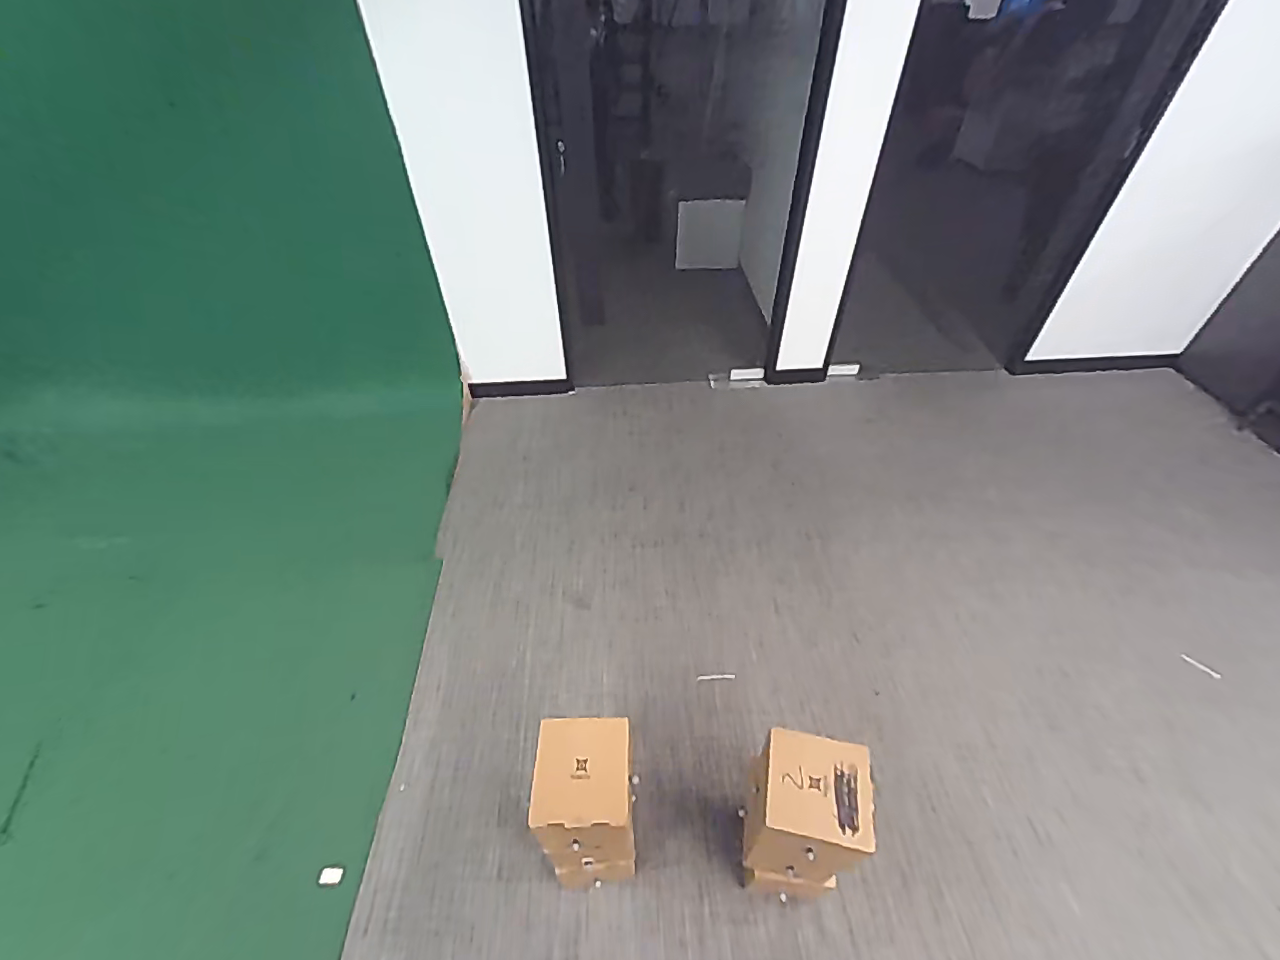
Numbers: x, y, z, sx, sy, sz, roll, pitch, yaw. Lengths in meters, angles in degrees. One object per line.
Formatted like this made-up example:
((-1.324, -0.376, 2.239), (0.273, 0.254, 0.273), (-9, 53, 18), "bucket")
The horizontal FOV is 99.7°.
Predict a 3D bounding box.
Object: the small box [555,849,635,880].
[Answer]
((-0.102, 0.777, 1.226), (0.168, 0.176, 0.179), (-6, 45, -4), "small box")

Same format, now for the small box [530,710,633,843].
((-0.099, 0.547, 0.998), (0.168, 0.176, 0.179), (-1, 45, 0), "small box")

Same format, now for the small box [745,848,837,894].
((0.325, 0.793, 1.205), (0.168, 0.176, 0.179), (4, 46, 6), "small box")

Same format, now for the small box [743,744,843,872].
((0.305, 0.669, 1.098), (0.168, 0.176, 0.179), (8, 47, 8), "small box")

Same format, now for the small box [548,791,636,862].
((-0.098, 0.659, 1.115), (0.168, 0.176, 0.179), (-6, 45, -4), "small box")
